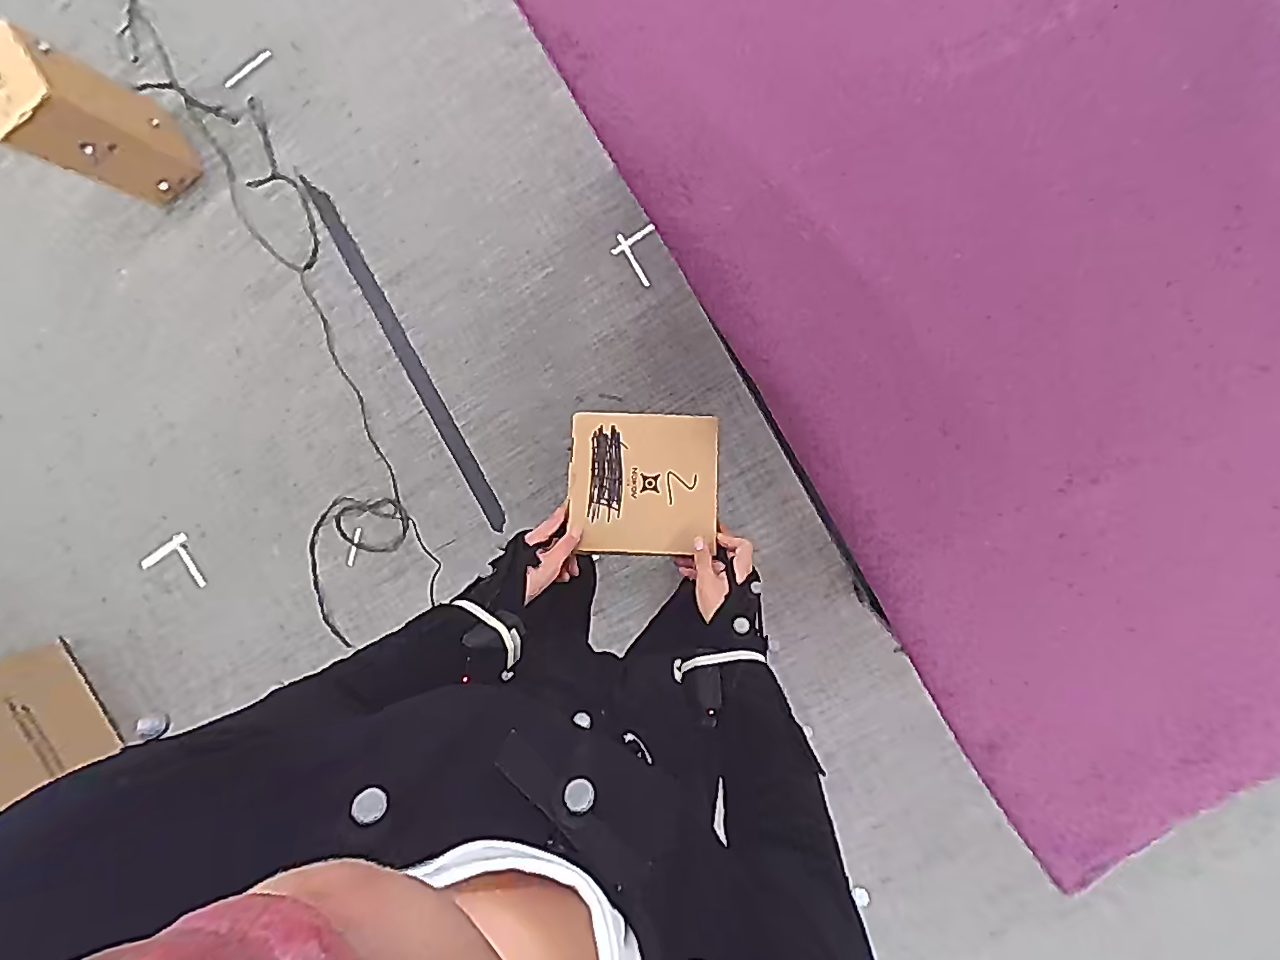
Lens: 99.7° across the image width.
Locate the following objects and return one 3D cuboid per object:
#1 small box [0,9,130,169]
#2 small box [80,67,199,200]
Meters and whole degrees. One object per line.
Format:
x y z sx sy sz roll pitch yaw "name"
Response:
-1.247 -0.802 1.132 0.168 0.176 0.179 -31 91 10 "small box"
-1.227 -0.817 1.295 0.168 0.176 0.179 -29 92 9 "small box"
